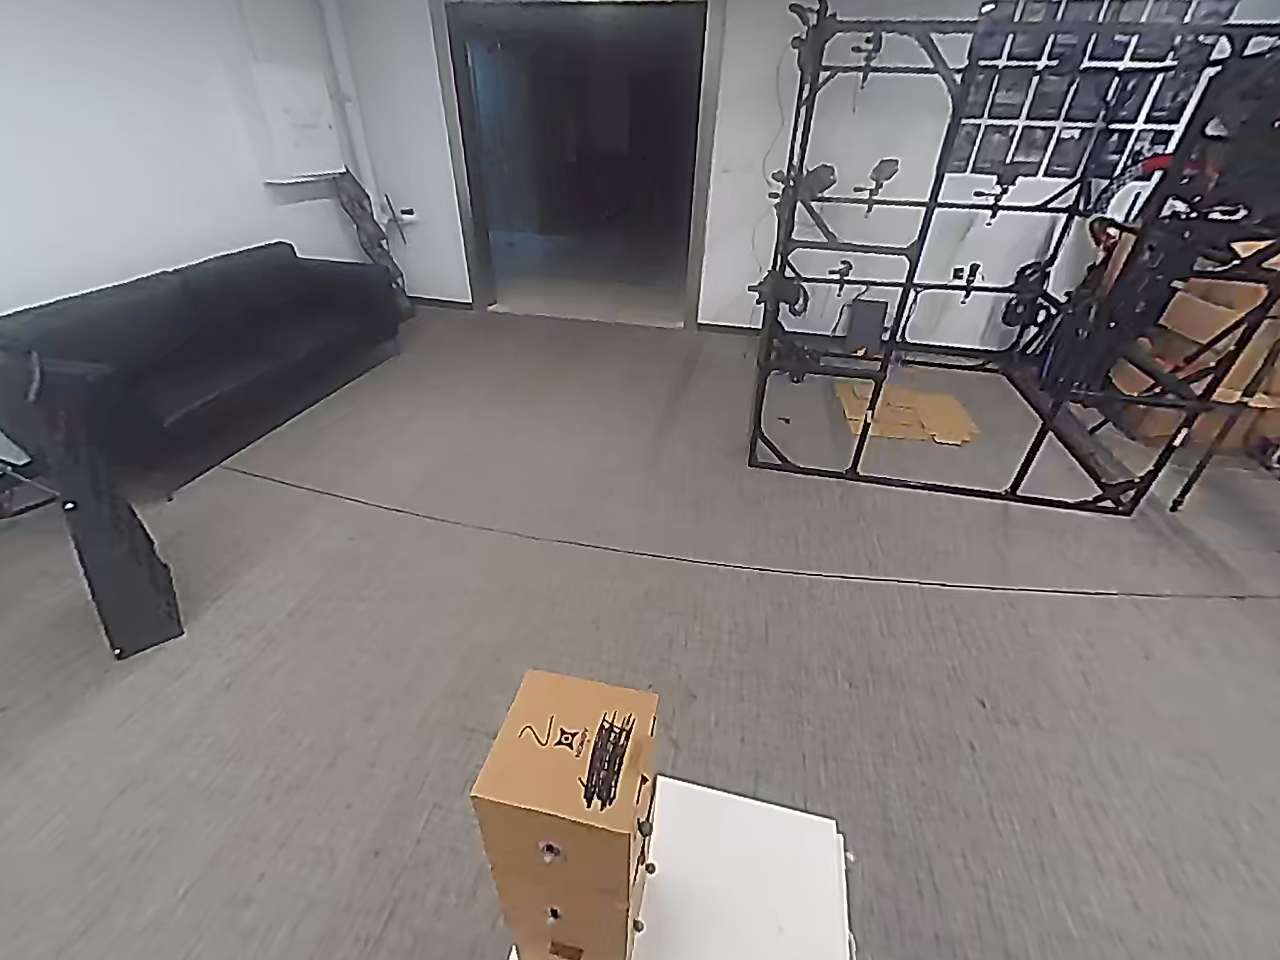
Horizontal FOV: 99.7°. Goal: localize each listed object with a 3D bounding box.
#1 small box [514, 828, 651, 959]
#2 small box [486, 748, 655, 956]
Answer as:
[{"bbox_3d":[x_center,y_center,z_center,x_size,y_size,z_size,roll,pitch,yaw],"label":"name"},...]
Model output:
[{"bbox_3d":[-0.084,0.640,0.833,0.168,0.176,0.179,8,34,10],"label":"small box"},{"bbox_3d":[-0.084,0.506,0.737,0.179,0.176,0.168,8,34,11],"label":"small box"}]
